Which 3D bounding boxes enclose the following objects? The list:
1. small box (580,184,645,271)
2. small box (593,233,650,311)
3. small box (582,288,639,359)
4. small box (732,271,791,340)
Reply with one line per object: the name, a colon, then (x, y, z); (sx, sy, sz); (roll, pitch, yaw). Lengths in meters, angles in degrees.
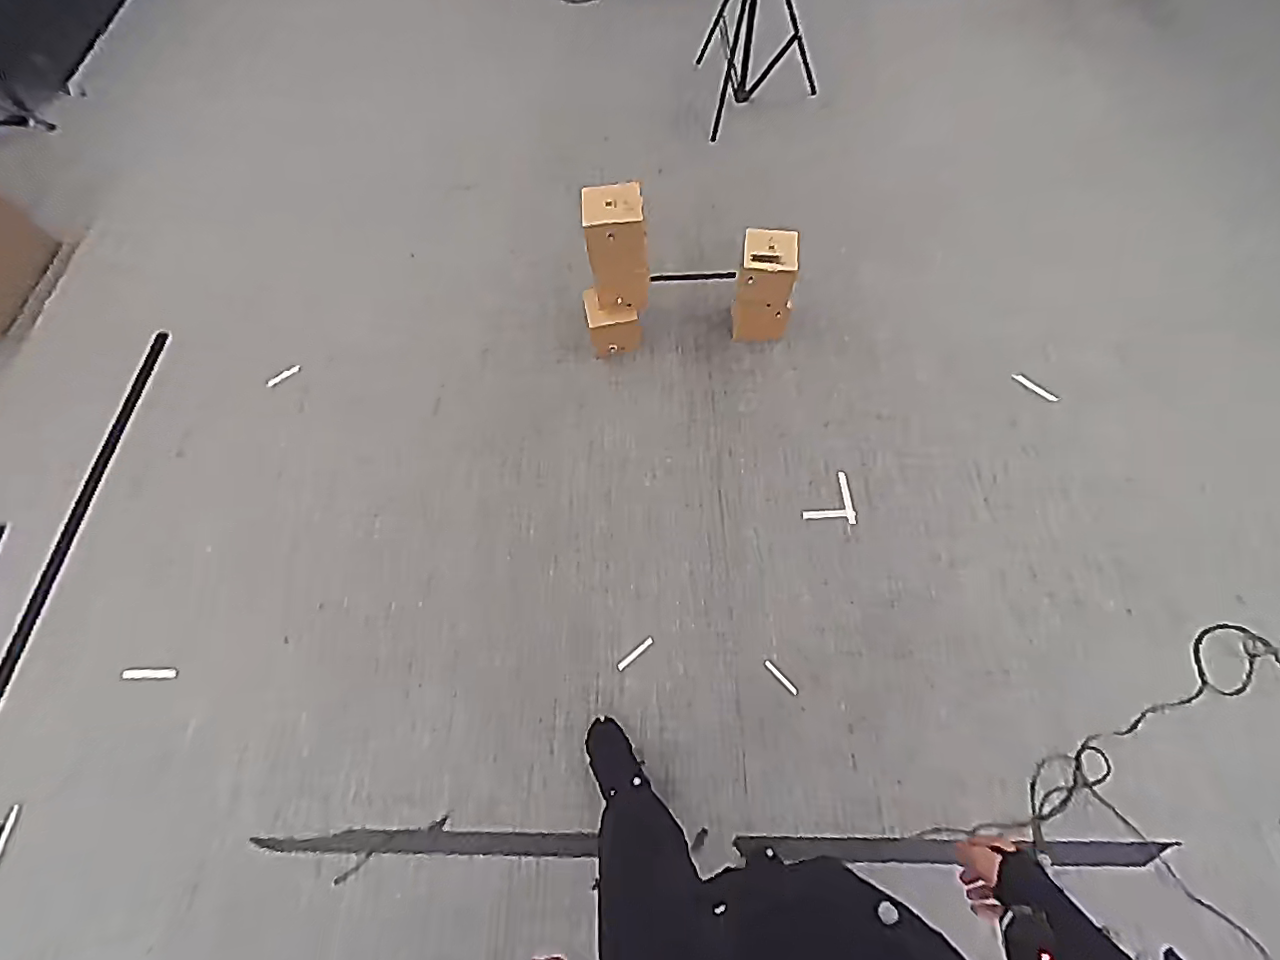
small box: (-0.079, -0.749, 1.618); (0.179, 0.176, 0.168); (-5, 64, 1)
small box: (-0.056, -0.678, 1.765); (0.168, 0.176, 0.179); (1, 65, 5)
small box: (-0.102, -0.553, 1.888); (0.168, 0.176, 0.179); (-12, 65, -2)
small box: (0.416, -0.606, 1.892); (0.179, 0.176, 0.168); (0, 65, 1)
